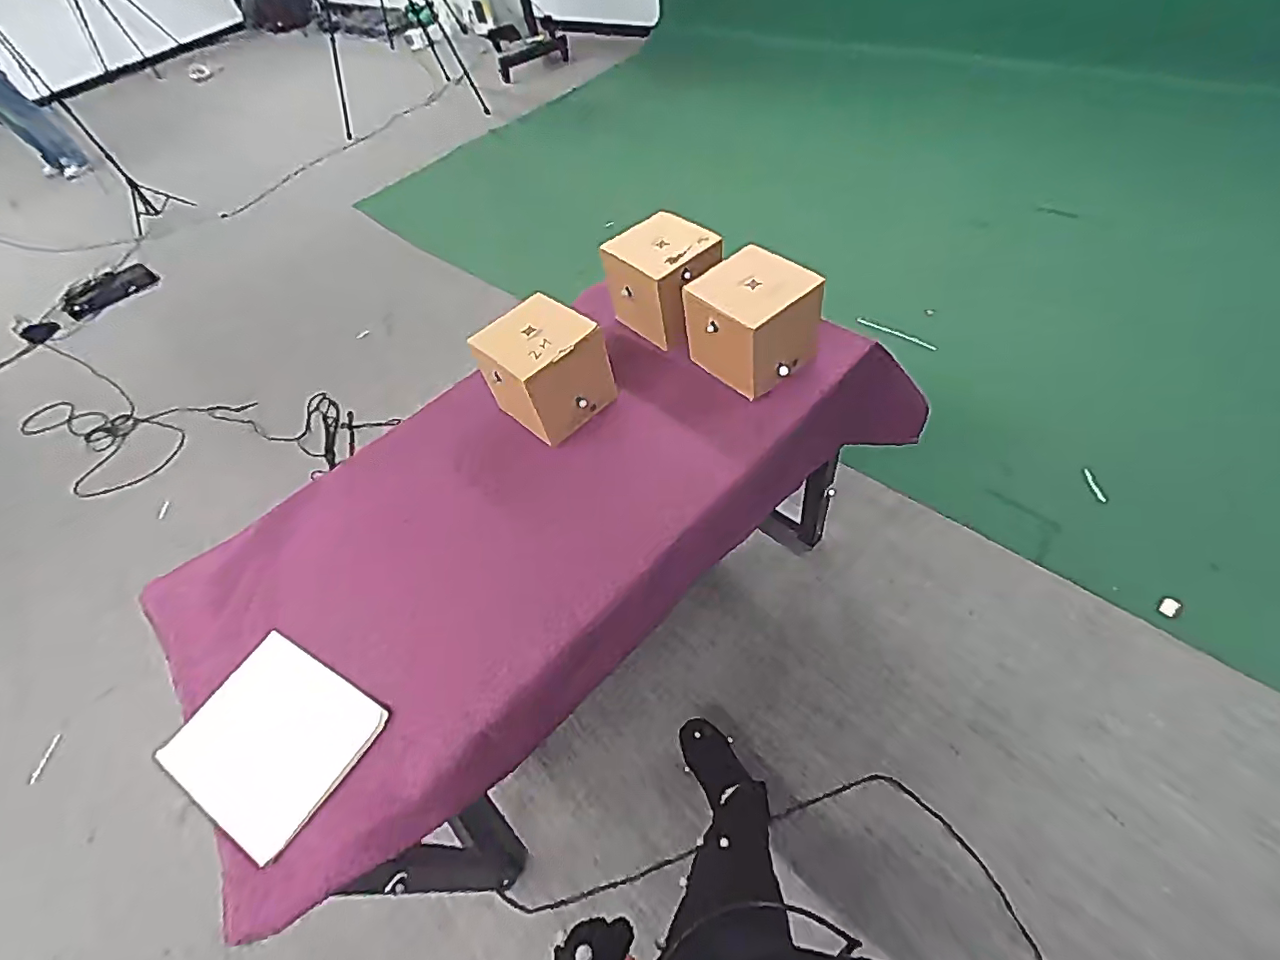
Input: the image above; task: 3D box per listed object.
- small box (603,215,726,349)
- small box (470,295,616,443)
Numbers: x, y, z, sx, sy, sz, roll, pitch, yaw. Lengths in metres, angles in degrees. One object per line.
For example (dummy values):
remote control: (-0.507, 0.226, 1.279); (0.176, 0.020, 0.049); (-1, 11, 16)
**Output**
small box: (0.054, -0.391, 1.077); (0.168, 0.176, 0.179); (-37, 55, -16)
small box: (-0.167, -0.196, 0.972); (0.168, 0.176, 0.179); (-41, 58, -19)
